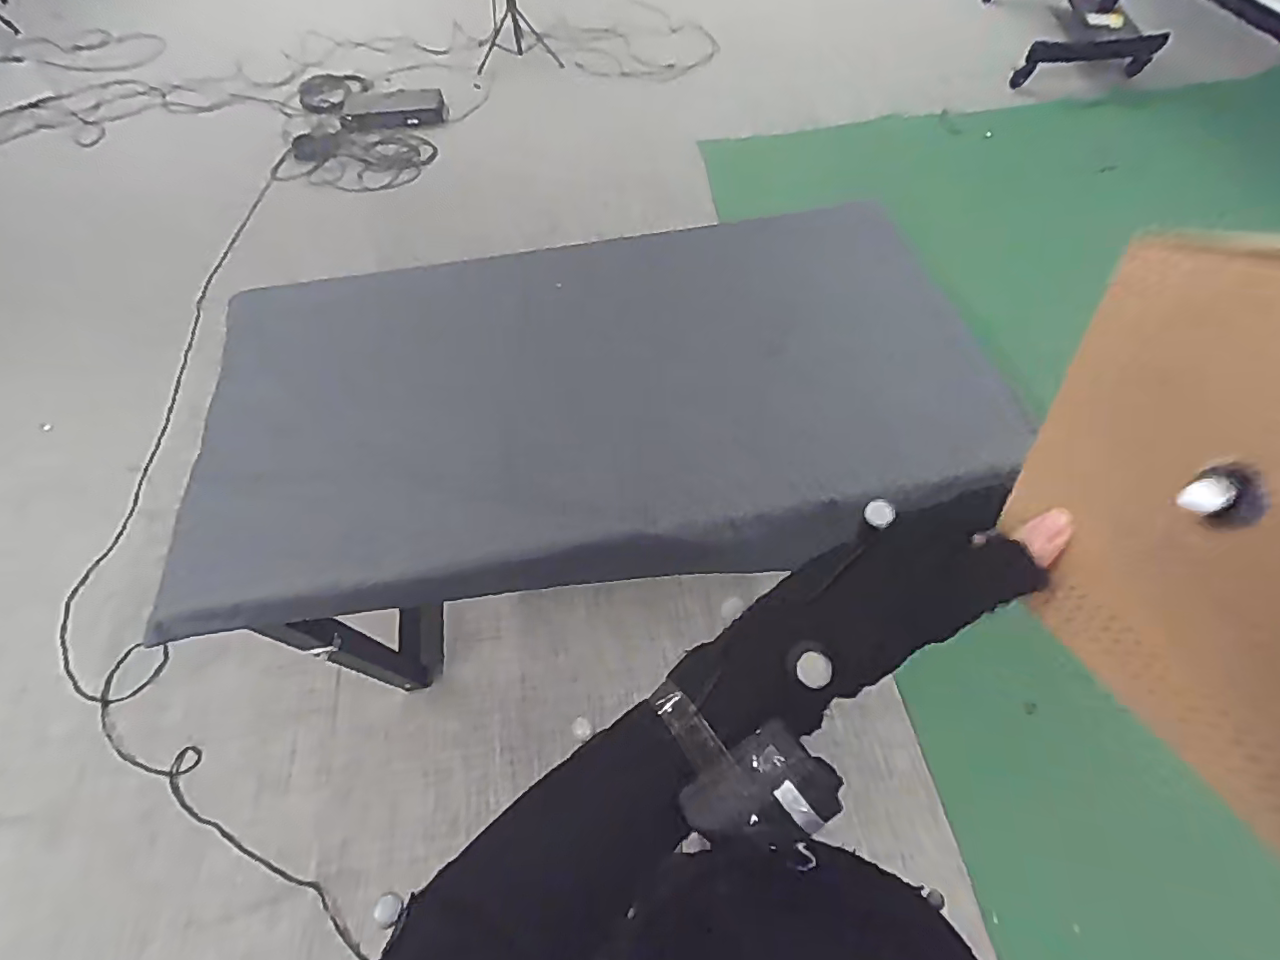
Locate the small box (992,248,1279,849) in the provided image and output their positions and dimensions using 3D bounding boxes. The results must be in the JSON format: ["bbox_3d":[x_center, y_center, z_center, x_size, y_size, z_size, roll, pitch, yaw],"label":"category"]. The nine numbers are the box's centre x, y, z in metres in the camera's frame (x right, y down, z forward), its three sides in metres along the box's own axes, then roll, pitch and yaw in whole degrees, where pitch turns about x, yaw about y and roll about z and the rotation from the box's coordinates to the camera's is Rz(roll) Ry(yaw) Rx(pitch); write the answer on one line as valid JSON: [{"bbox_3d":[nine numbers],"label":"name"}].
[{"bbox_3d":[0.280,0.021,0.194,0.168,0.176,0.179,0,30,-8],"label":"small box"}]
